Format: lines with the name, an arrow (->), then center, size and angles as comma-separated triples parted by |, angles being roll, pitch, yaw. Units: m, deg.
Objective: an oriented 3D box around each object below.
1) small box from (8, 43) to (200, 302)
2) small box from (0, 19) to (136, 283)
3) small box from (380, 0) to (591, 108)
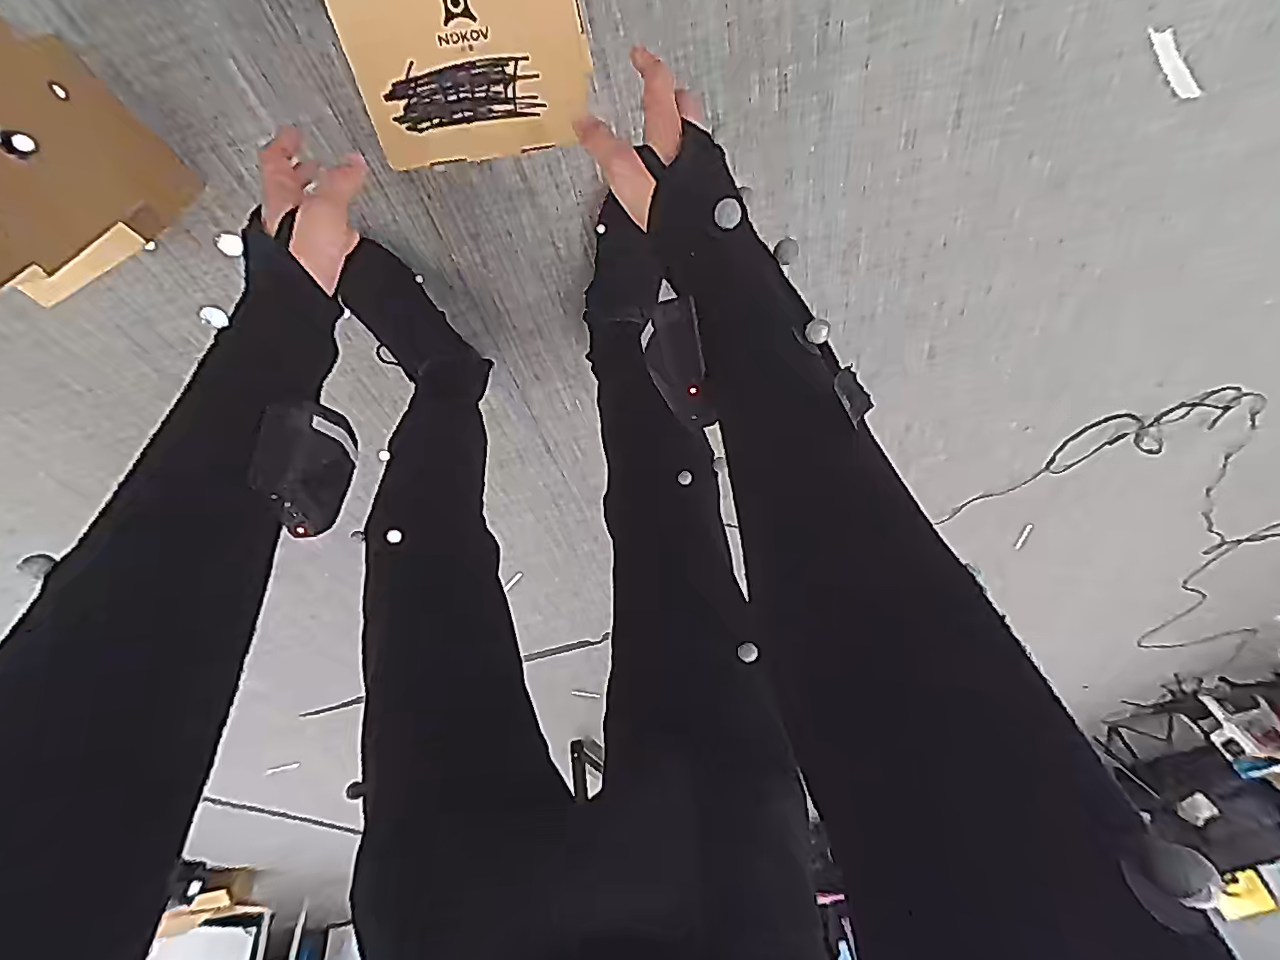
small box -> -0.649, -0.338, 0.592 | 0.168, 0.176, 0.179 | -22, 138, 12
small box -> -0.586, -0.270, 0.436 | 0.168, 0.176, 0.179 | -12, 138, 1
small box -> -0.158, -0.500, 0.530 | 0.179, 0.176, 0.168 | -15, 138, 2
